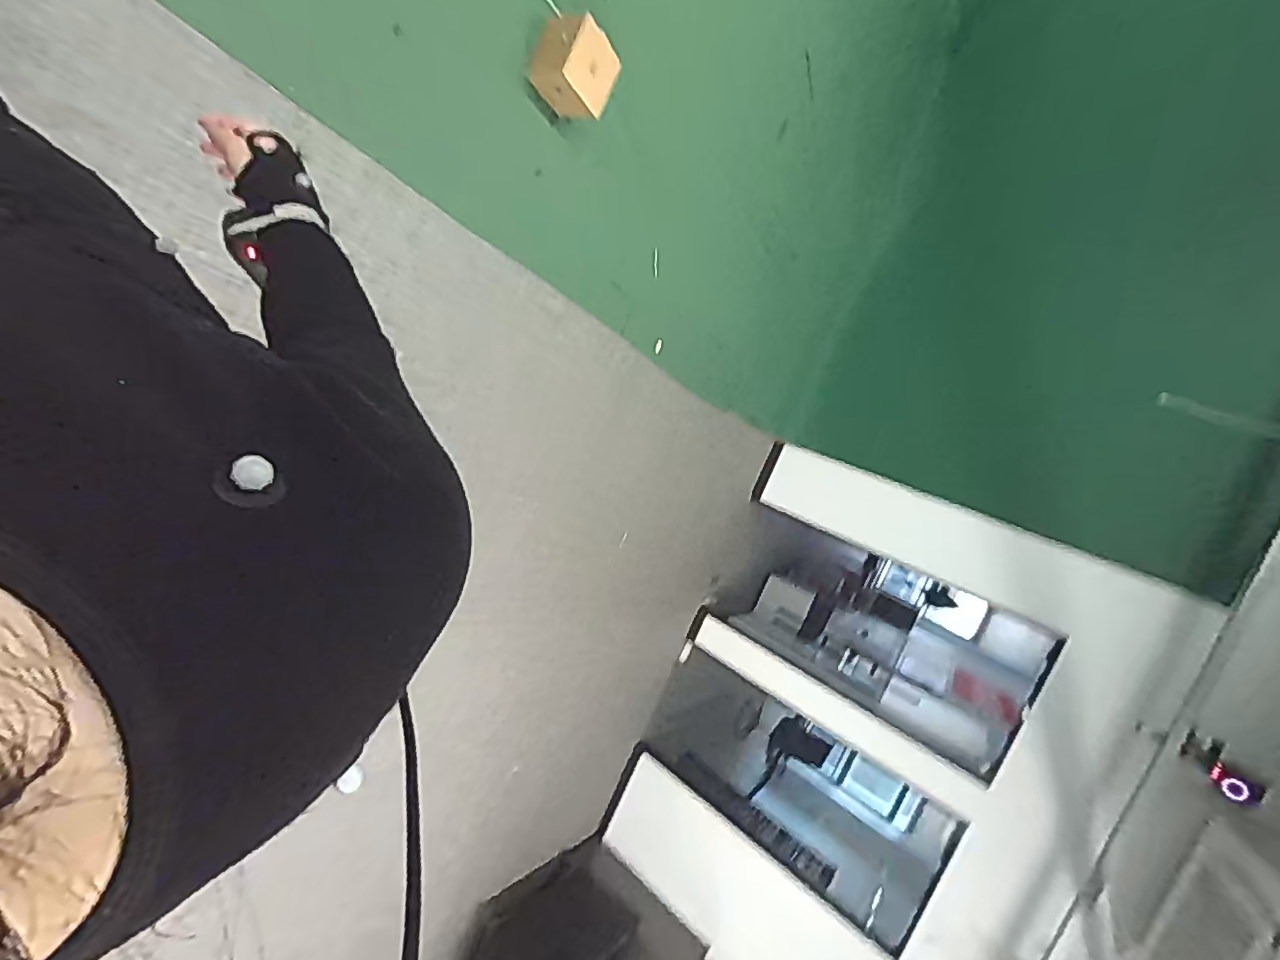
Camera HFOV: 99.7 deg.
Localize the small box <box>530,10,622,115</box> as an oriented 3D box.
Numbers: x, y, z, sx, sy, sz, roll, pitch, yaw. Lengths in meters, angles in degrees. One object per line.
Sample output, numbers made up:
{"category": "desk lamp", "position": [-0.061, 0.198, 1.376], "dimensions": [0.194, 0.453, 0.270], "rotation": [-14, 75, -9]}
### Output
{"category": "small box", "position": [-0.187, -1.183, 1.545], "dimensions": [0.168, 0.176, 0.179], "rotation": [20, 95, -57]}
